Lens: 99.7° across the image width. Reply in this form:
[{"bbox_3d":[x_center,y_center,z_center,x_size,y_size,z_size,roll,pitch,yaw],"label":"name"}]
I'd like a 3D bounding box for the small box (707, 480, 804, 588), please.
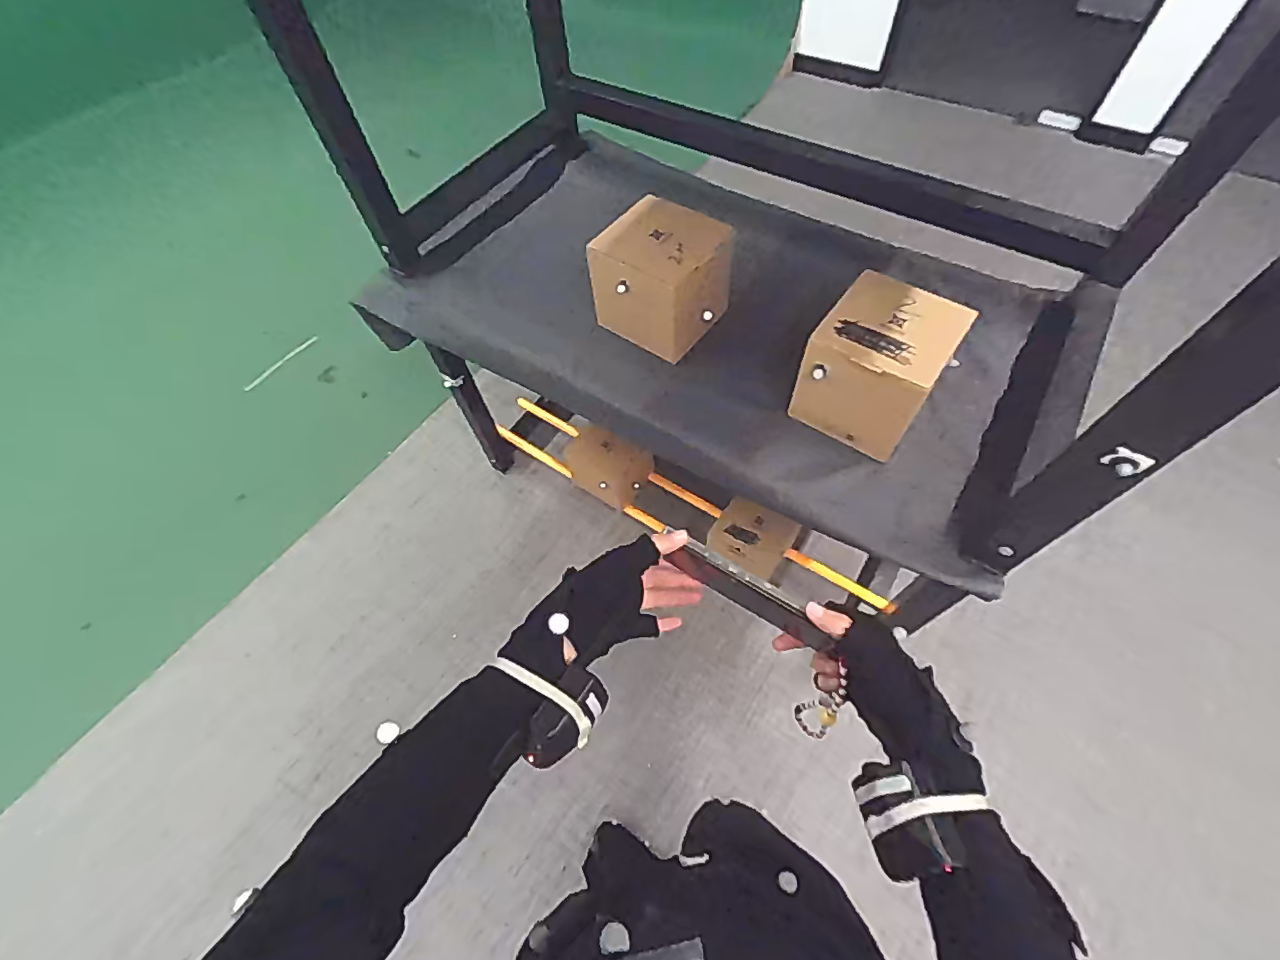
[{"bbox_3d":[0.280,0.139,1.338,0.168,0.176,0.179,33,67,20],"label":"small box"}]

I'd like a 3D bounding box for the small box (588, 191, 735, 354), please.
[{"bbox_3d":[0.038,-0.344,0.911,0.179,0.176,0.168,32,67,21],"label":"small box"}]
